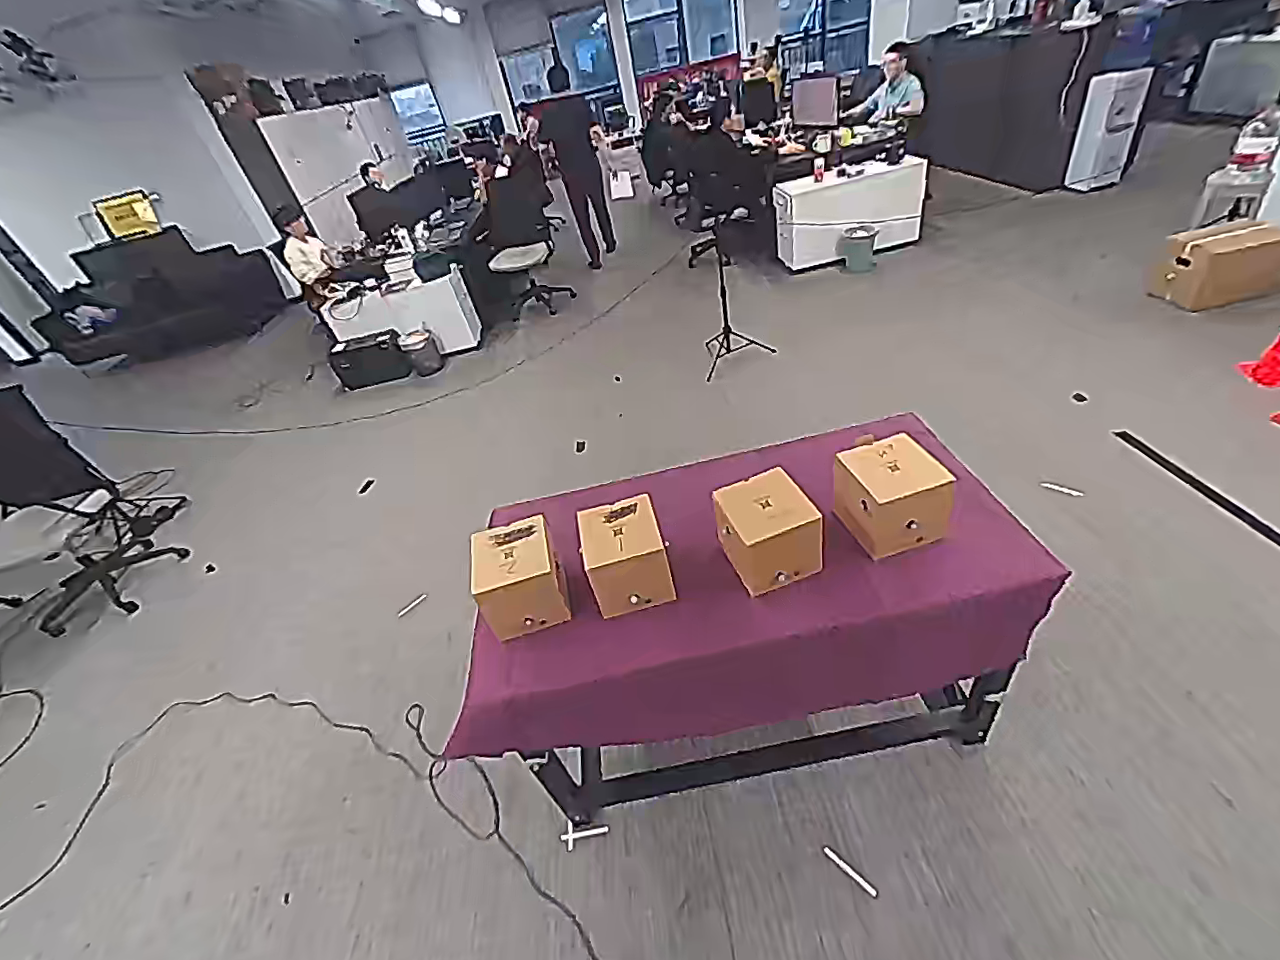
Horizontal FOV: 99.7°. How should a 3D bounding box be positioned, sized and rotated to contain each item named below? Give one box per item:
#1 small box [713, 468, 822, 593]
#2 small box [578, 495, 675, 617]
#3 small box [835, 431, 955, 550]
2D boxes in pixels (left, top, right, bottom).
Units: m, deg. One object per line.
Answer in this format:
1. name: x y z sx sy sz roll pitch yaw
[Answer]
1. small box: 0.270 0.107 1.152 0.168 0.176 0.179 -20 38 -5
2. small box: -0.030 0.165 1.179 0.168 0.176 0.179 -16 39 -1
3. small box: 0.535 0.029 1.157 0.168 0.176 0.179 -17 38 -3
